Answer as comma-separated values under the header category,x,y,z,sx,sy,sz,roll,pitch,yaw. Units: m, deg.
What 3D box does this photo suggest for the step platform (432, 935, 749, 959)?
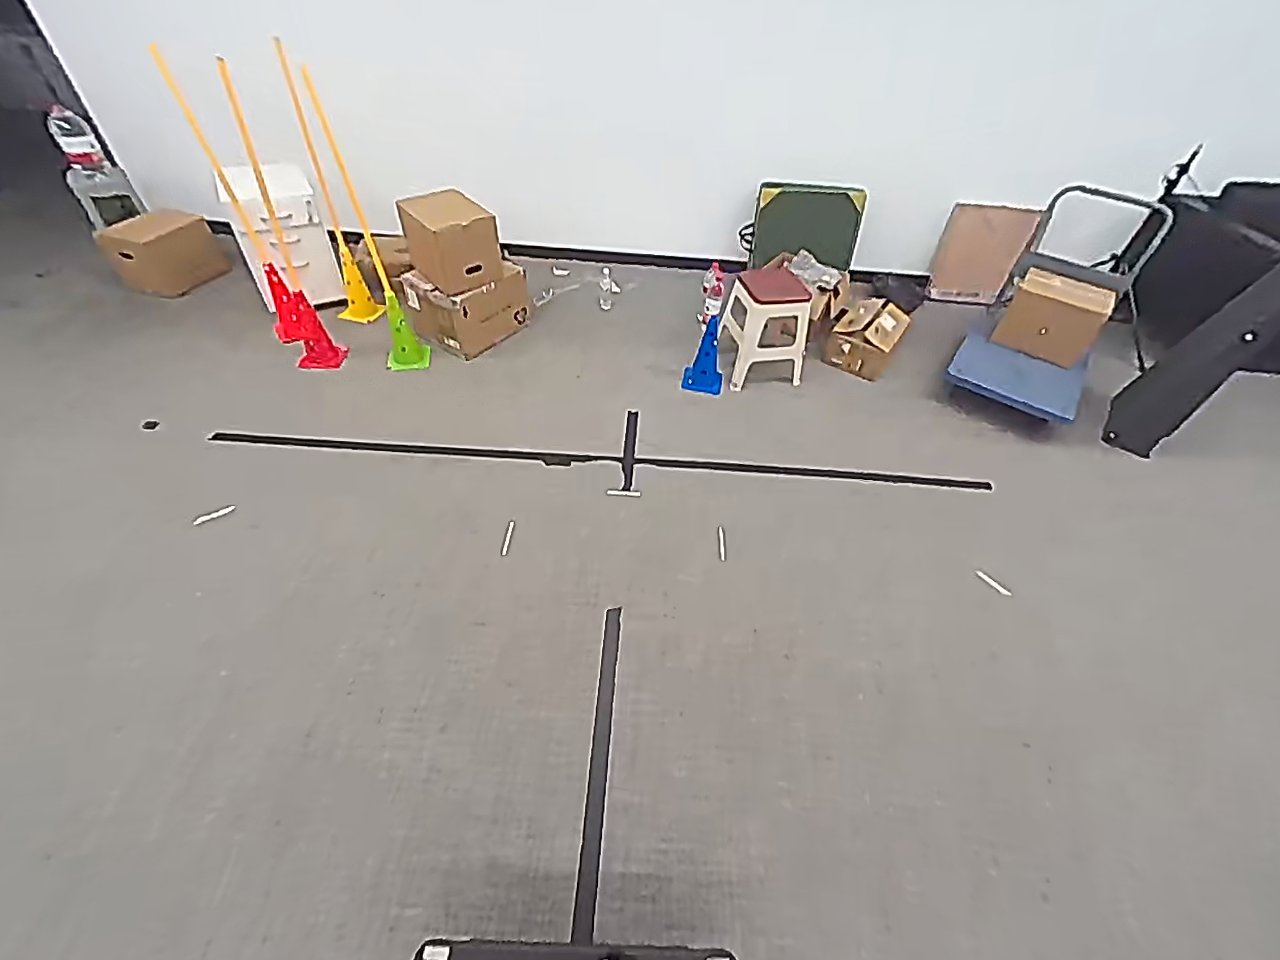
category,x,y,z,sx,sy,sz,roll,pitch,yaw
step platform,-0.101,1.096,1.067,0.684,0.204,0.286,4,46,-3
